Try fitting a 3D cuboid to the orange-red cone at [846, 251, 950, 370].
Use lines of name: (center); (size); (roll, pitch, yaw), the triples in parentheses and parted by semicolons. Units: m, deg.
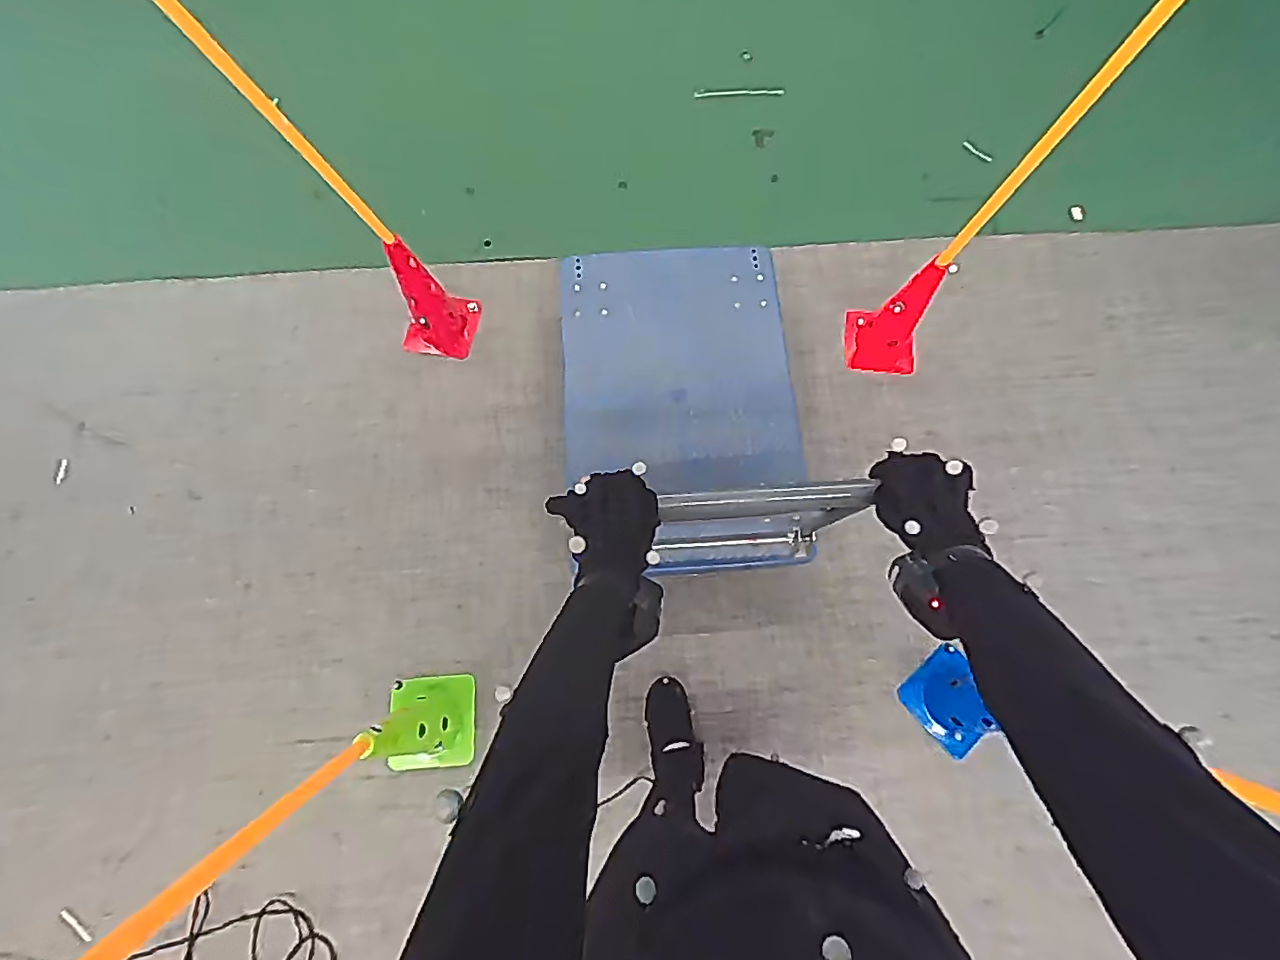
orange-red cone: (0.702, -0.463, 1.416); (0.198, 0.360, 0.199); (7, 74, 3)
